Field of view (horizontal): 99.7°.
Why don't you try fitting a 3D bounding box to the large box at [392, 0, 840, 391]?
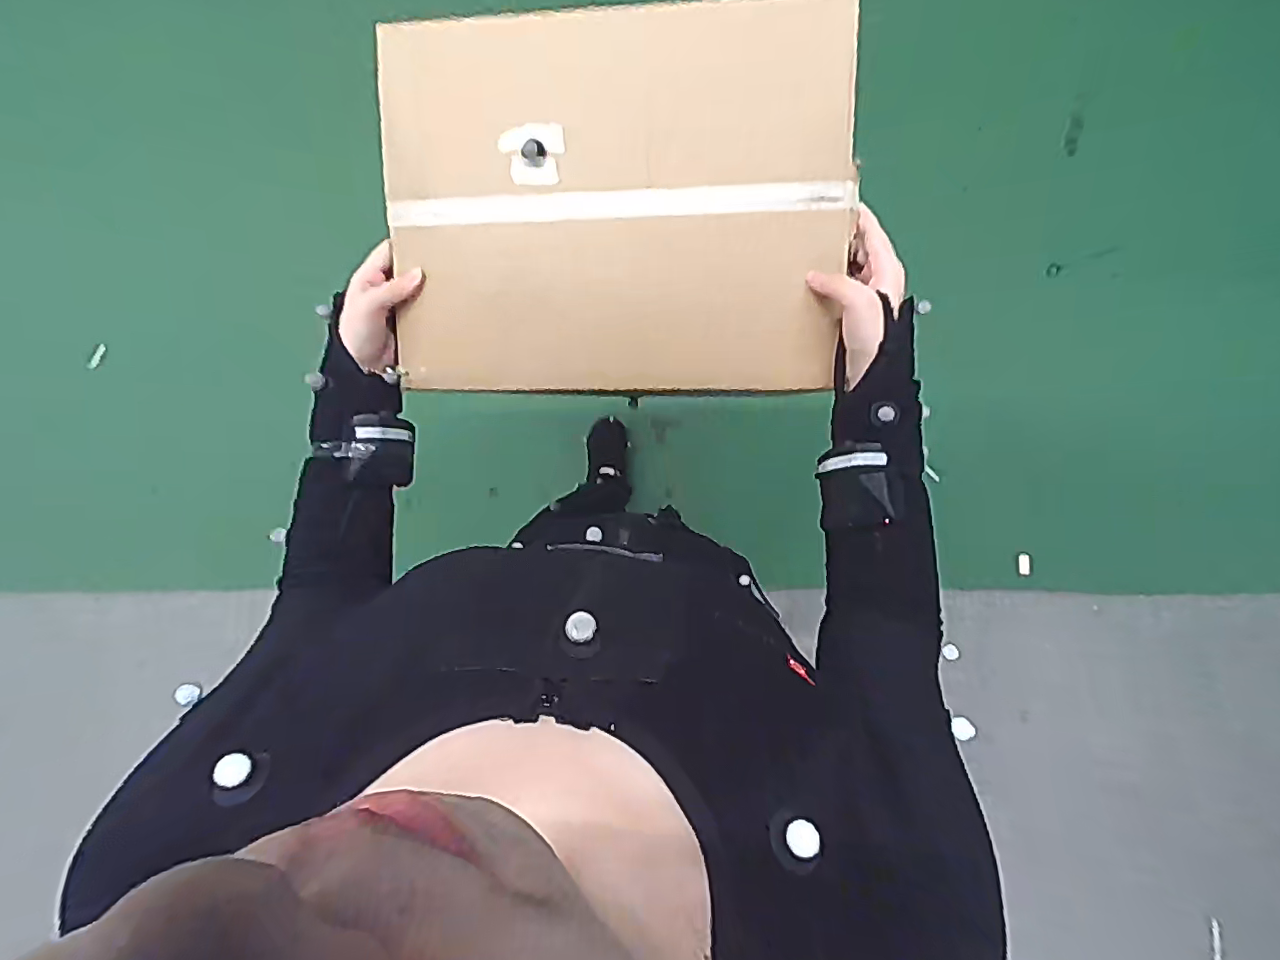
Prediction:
[{"bbox_3d":[-0.008,-0.264,0.633,0.408,0.320,0.320,1,98,7],"label":"large box"}]
